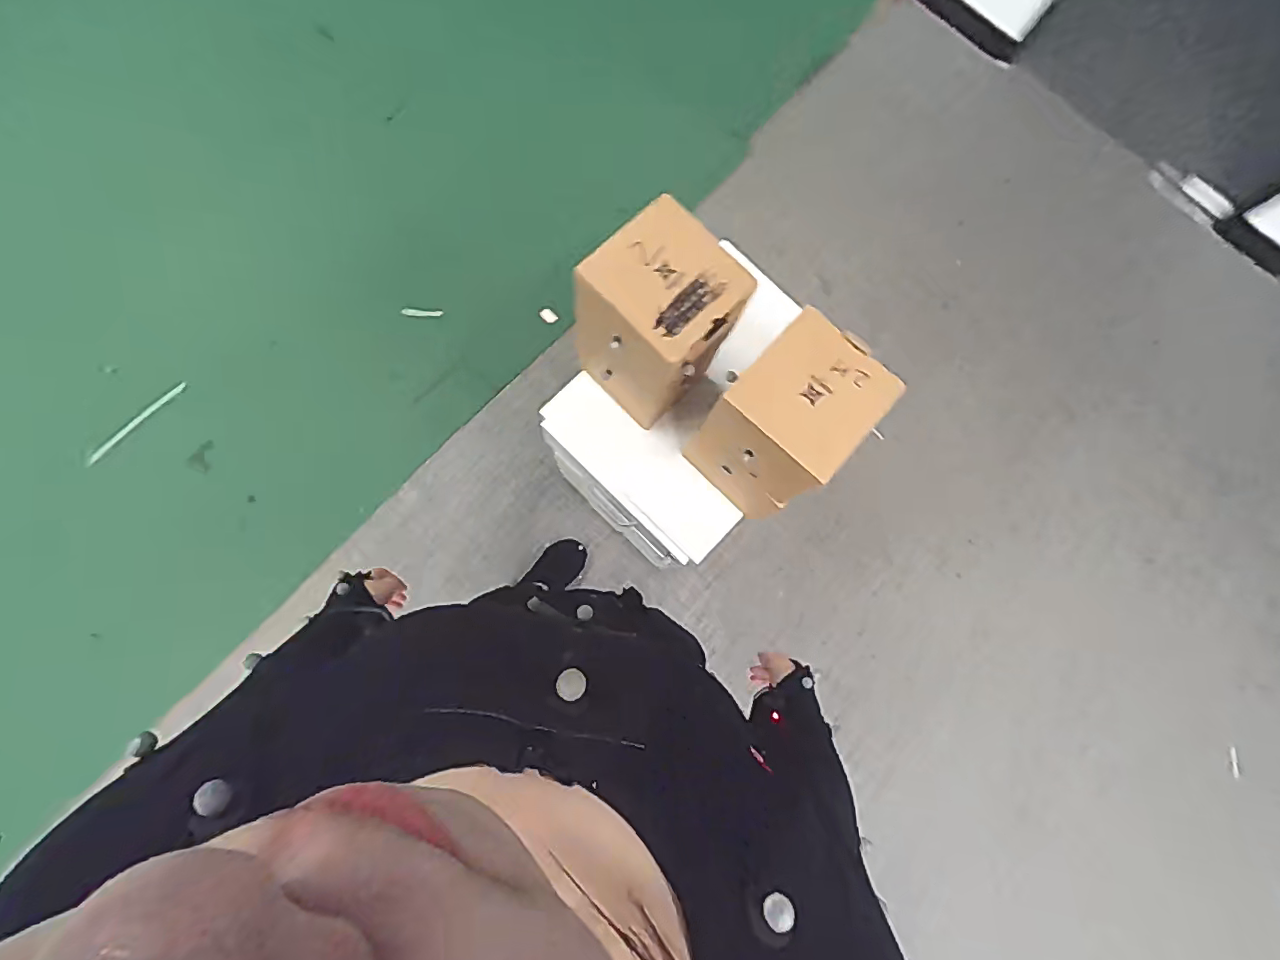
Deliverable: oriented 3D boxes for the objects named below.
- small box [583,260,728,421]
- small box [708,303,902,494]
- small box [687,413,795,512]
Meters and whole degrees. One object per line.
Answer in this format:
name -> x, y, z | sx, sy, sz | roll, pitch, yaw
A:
small box -> 0.016, -0.228, 0.929 | 0.168, 0.176, 0.179 | -44, 88, -10
small box -> 0.213, -0.100, 0.754 | 0.168, 0.176, 0.179 | 43, 79, 4
small box -> 0.201, -0.063, 0.915 | 0.179, 0.176, 0.168 | 45, 79, 4
